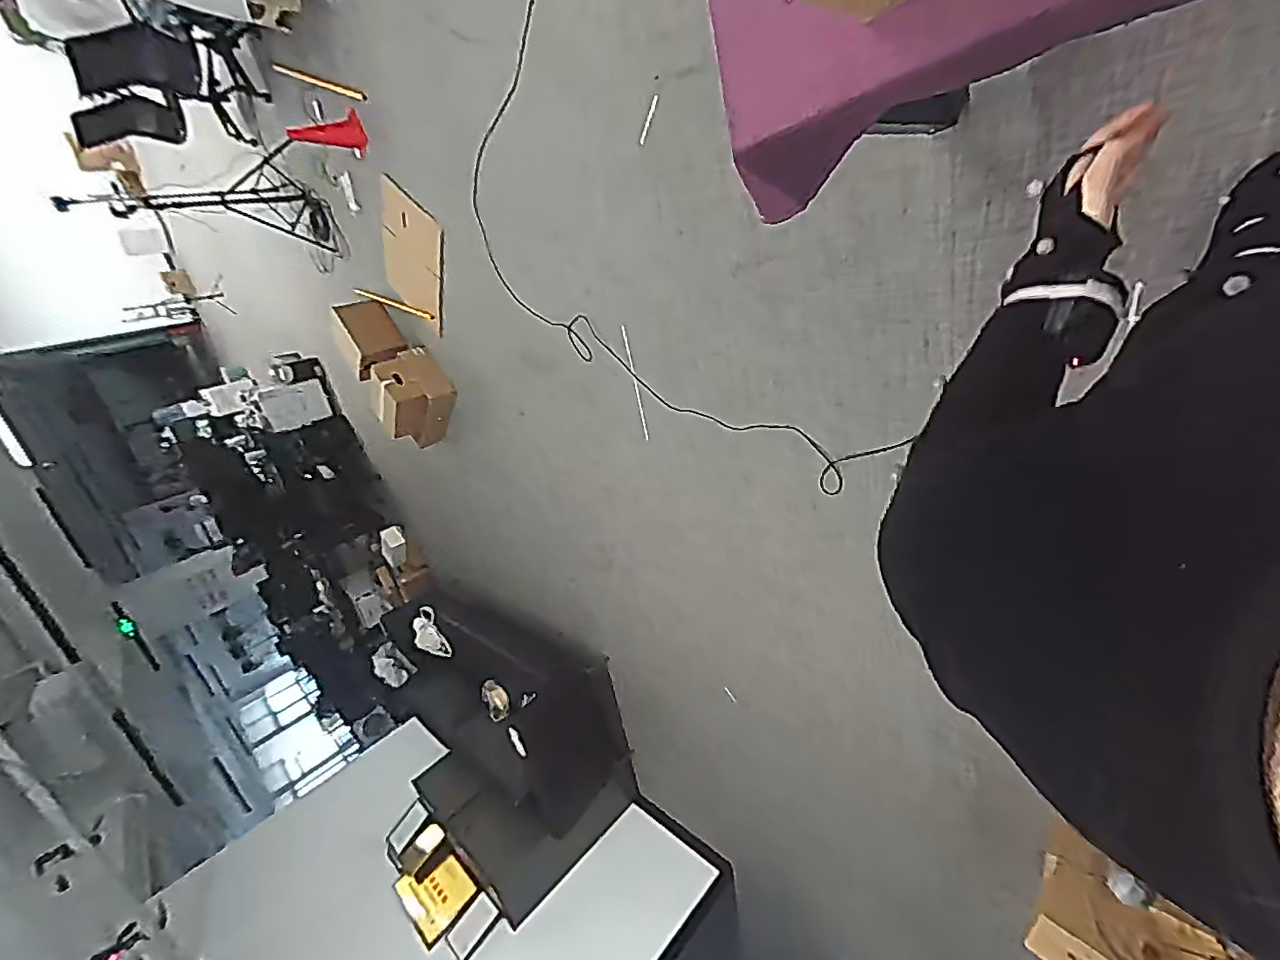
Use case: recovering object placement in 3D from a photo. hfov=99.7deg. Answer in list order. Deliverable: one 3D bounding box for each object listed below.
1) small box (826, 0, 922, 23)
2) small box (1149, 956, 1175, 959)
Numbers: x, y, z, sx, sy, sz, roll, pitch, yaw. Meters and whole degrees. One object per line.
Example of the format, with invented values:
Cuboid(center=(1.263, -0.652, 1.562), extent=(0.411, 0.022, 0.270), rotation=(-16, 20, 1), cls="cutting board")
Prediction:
Cuboid(center=(0.248, -0.573, 0.501), extent=(0.168, 0.176, 0.179), rotation=(11, 119, 46), cls="small box")
Cuboid(center=(1.230, 1.217, 1.197), extent=(0.179, 0.176, 0.168), rotation=(9, 122, 45), cls="small box")
